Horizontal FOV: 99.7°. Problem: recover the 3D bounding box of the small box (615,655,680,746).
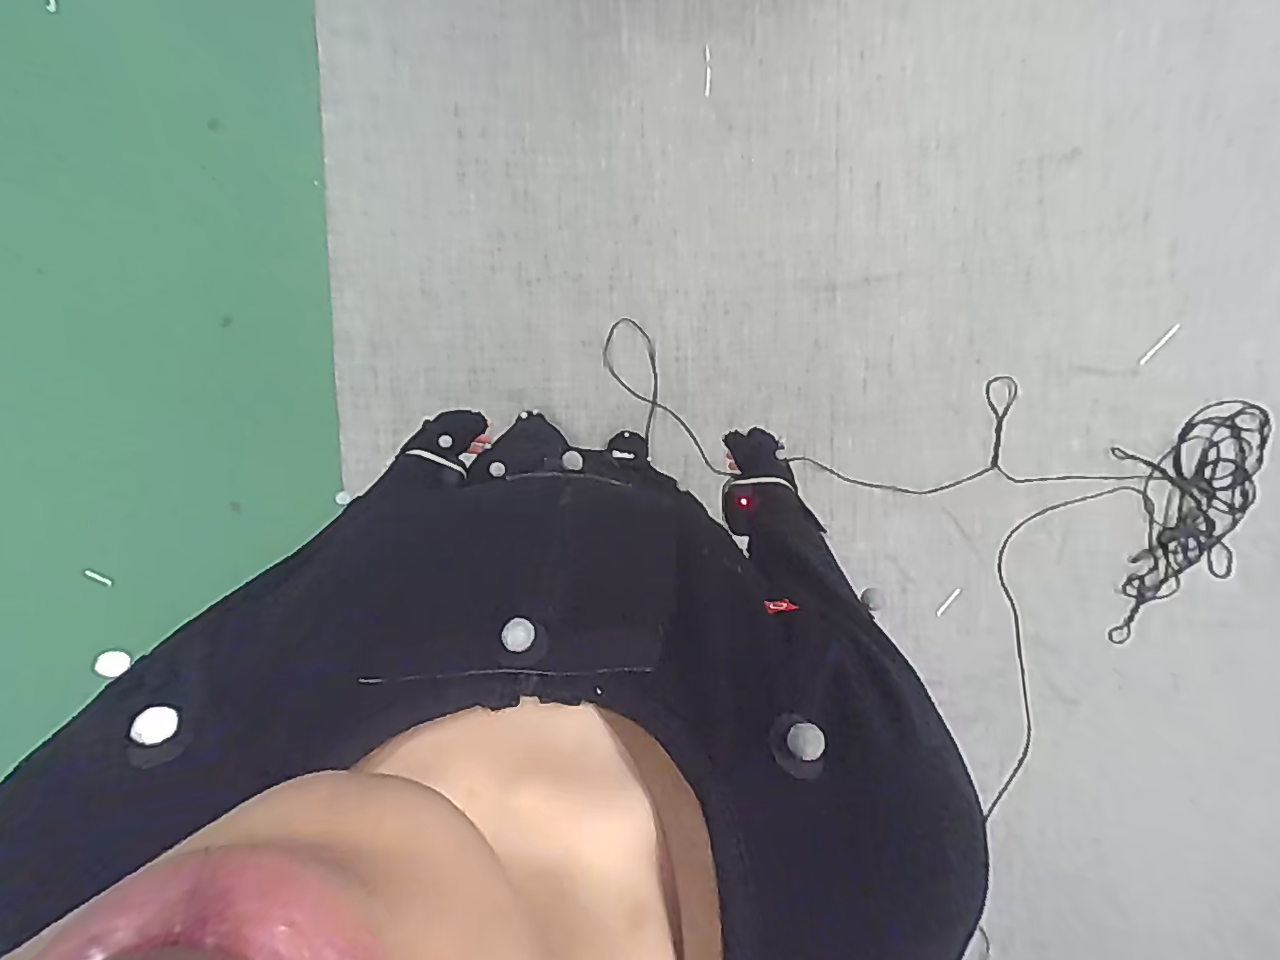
[{"bbox_3d":[0.016,0.575,1.431,0.168,0.176,0.179,-1,95,-1],"label":"small box"}]
